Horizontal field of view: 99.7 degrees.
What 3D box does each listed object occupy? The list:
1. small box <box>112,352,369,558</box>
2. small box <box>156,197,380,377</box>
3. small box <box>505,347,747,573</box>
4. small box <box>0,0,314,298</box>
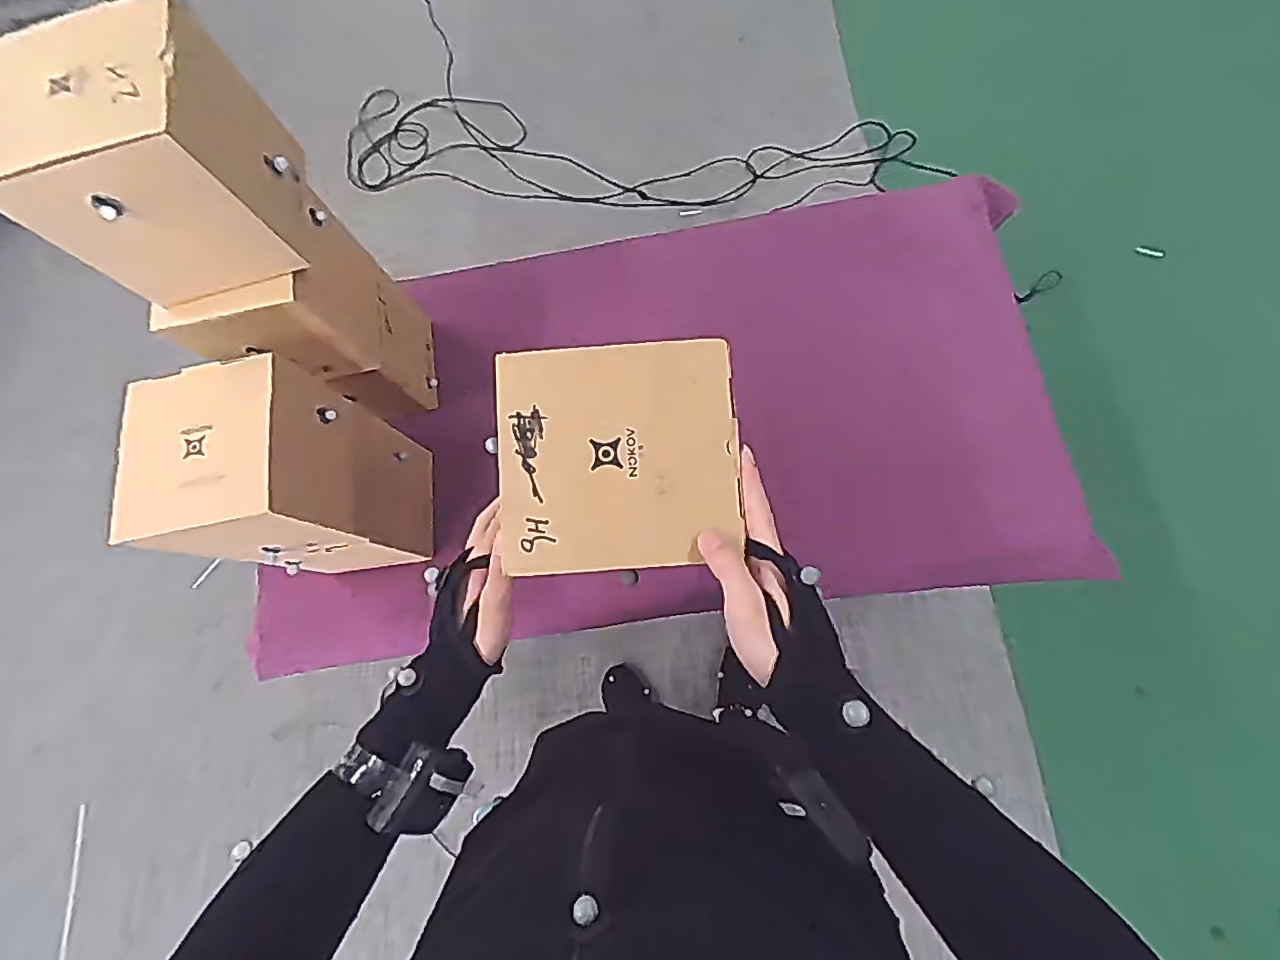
[{"bbox_3d":[-0.433,-0.017,0.618,0.168,0.176,0.179,-10,74,3],"label":"small box"},{"bbox_3d":[-0.448,-0.237,0.678,0.168,0.176,0.179,-11,74,3],"label":"small box"},{"bbox_3d":[-0.014,-0.007,0.475,0.179,0.176,0.168,-2,81,-1],"label":"small box"},{"bbox_3d":[-0.457,-0.305,0.526,0.179,0.176,0.168,-14,75,2],"label":"small box"}]
